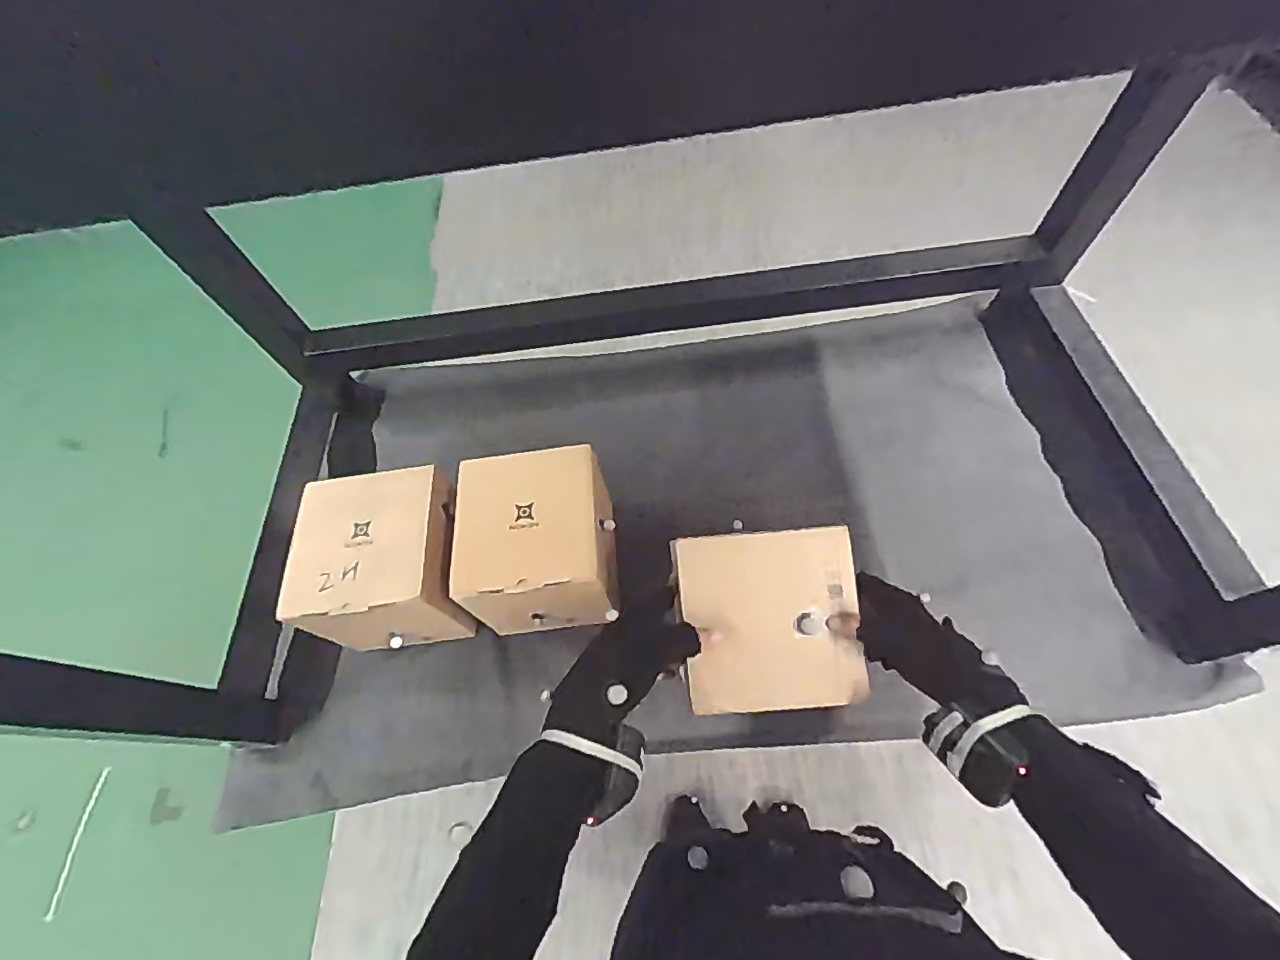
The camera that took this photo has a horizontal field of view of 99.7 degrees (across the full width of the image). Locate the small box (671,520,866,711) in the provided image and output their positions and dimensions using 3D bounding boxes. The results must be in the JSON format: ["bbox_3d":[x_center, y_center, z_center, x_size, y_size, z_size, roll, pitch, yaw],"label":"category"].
[{"bbox_3d":[0.126,0.134,0.584,0.176,0.179,0.168,-5,86,1],"label":"small box"}]

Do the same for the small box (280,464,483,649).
[{"bbox_3d":[-0.312,0.104,0.698,0.168,0.176,0.179,-8,60,3],"label":"small box"}]
